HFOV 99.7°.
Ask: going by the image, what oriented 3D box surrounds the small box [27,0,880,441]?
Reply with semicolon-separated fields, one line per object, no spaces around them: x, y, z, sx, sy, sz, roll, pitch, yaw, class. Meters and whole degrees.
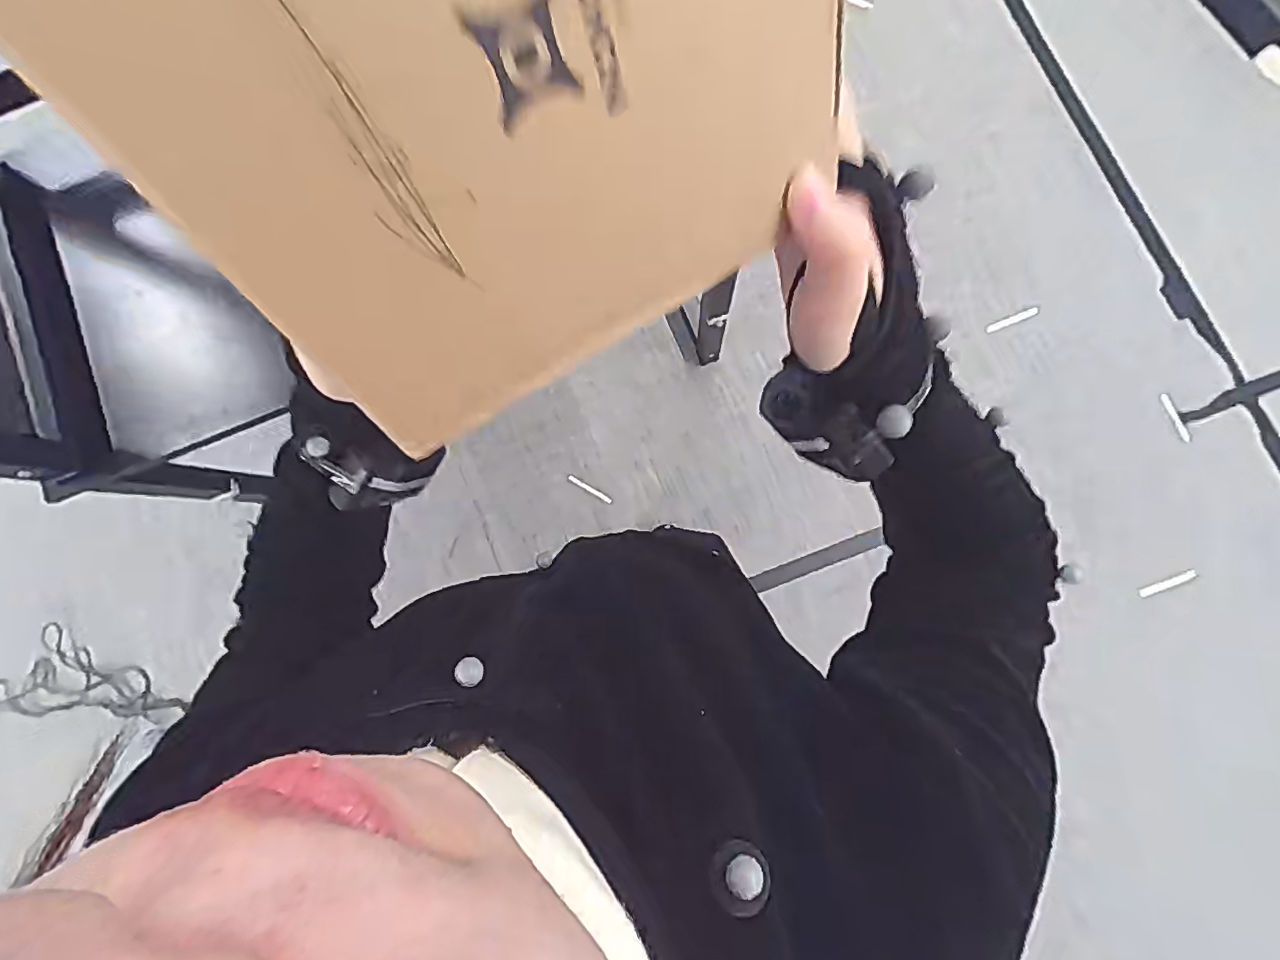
-0.052;-0.152;0.165;0.179;0.168;0.176;-31;53;-6;small box
